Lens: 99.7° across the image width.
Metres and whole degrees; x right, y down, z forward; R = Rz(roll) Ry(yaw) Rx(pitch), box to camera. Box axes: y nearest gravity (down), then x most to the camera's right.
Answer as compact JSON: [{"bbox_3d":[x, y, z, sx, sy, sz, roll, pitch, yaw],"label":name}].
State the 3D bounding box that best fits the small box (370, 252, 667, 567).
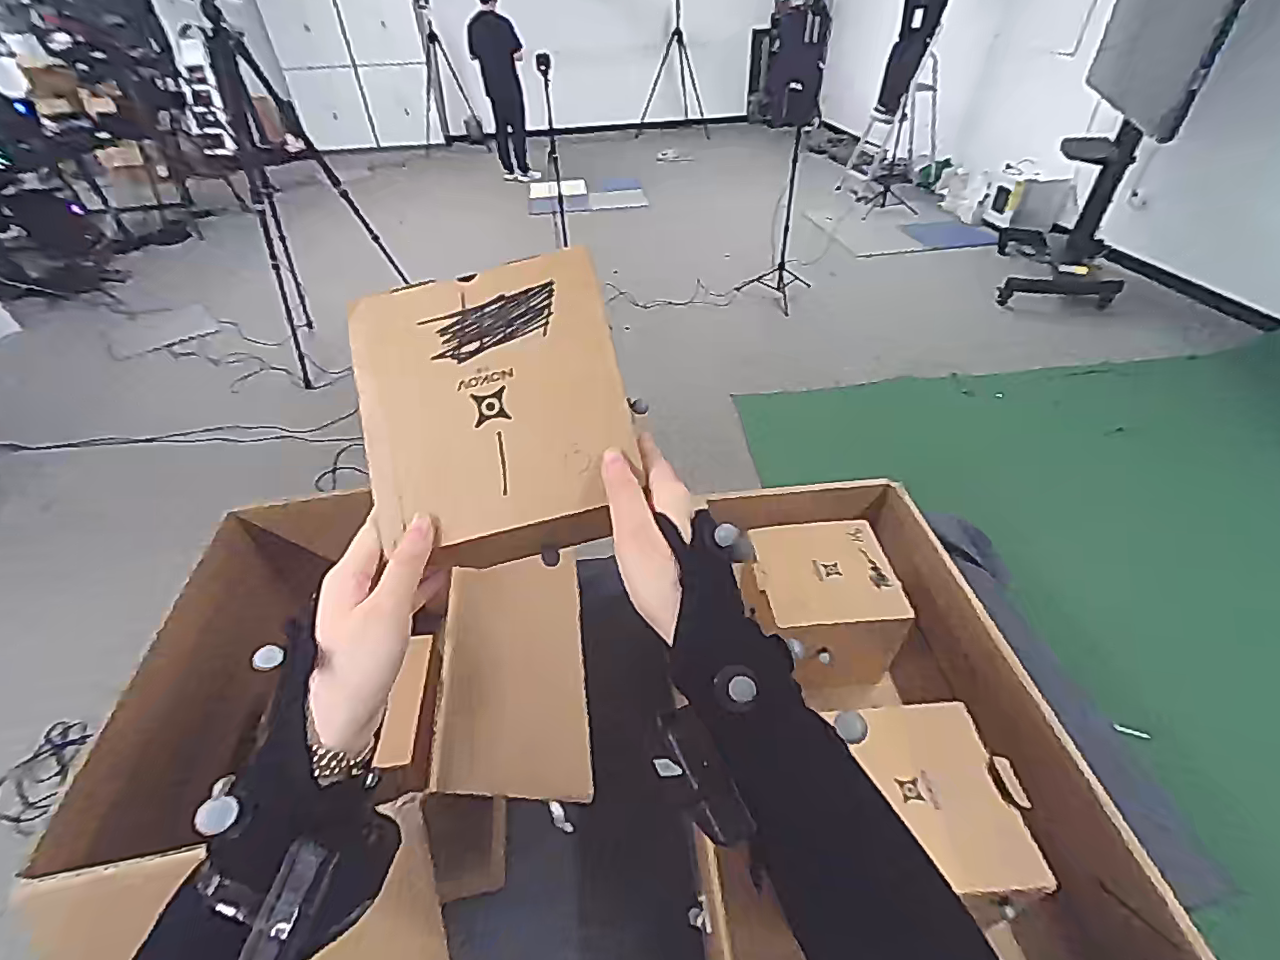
[{"bbox_3d":[-0.078,-0.037,0.419,0.168,0.176,0.179,-14,79,1],"label":"small box"}]
